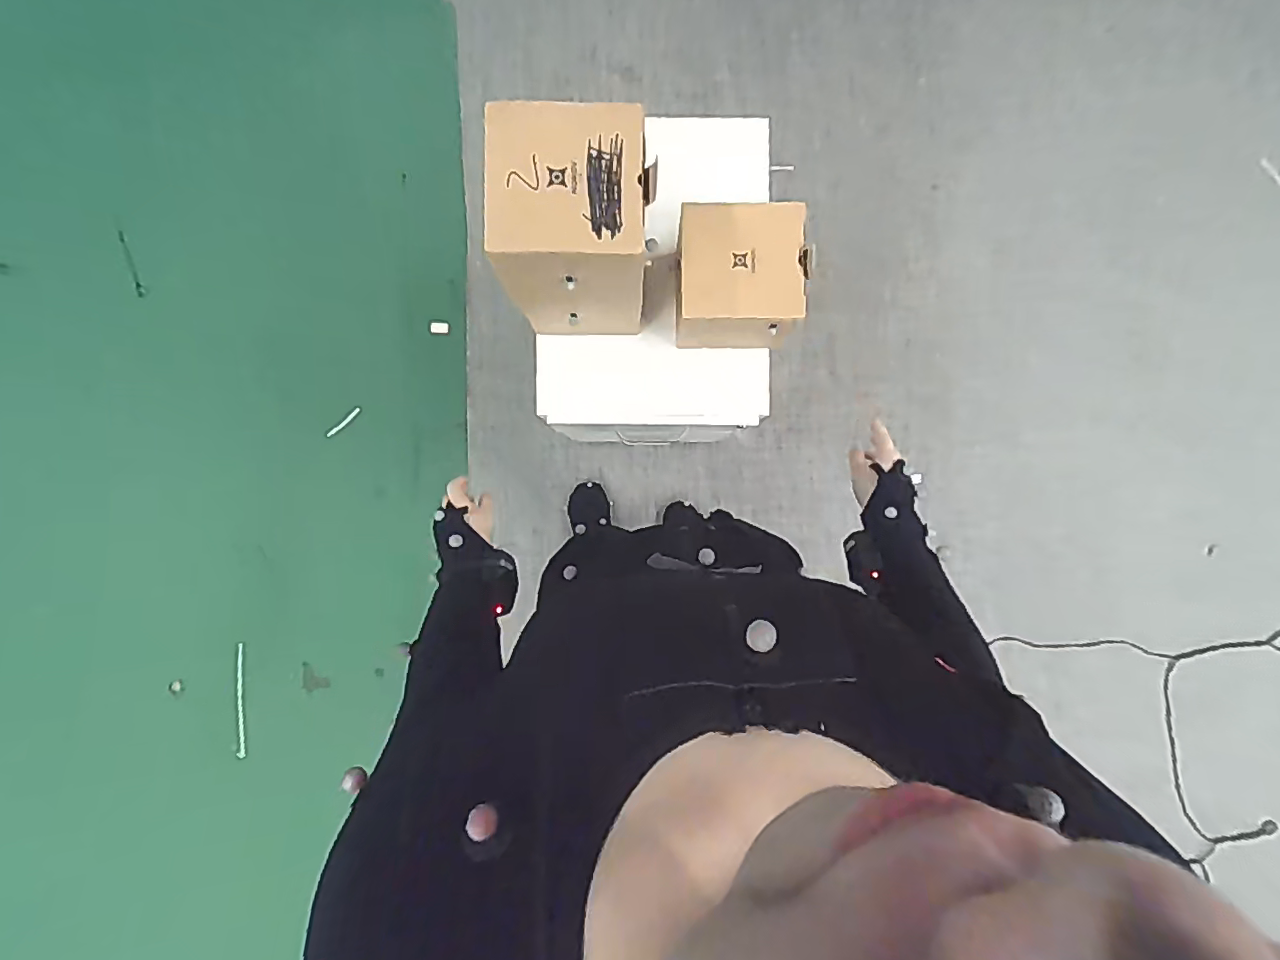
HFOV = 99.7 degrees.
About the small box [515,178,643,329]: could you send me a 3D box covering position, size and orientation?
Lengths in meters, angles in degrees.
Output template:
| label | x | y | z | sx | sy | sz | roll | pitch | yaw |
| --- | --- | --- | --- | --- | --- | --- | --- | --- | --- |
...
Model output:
| label | x | y | z | sx | sy | sz | roll | pitch | yaw |
| --- | --- | --- | --- | --- | --- | --- | --- | --- | --- |
| small box | -0.085 | -0.334 | 0.826 | 0.179 | 0.176 | 0.168 | -1 | 91 | -1 |
